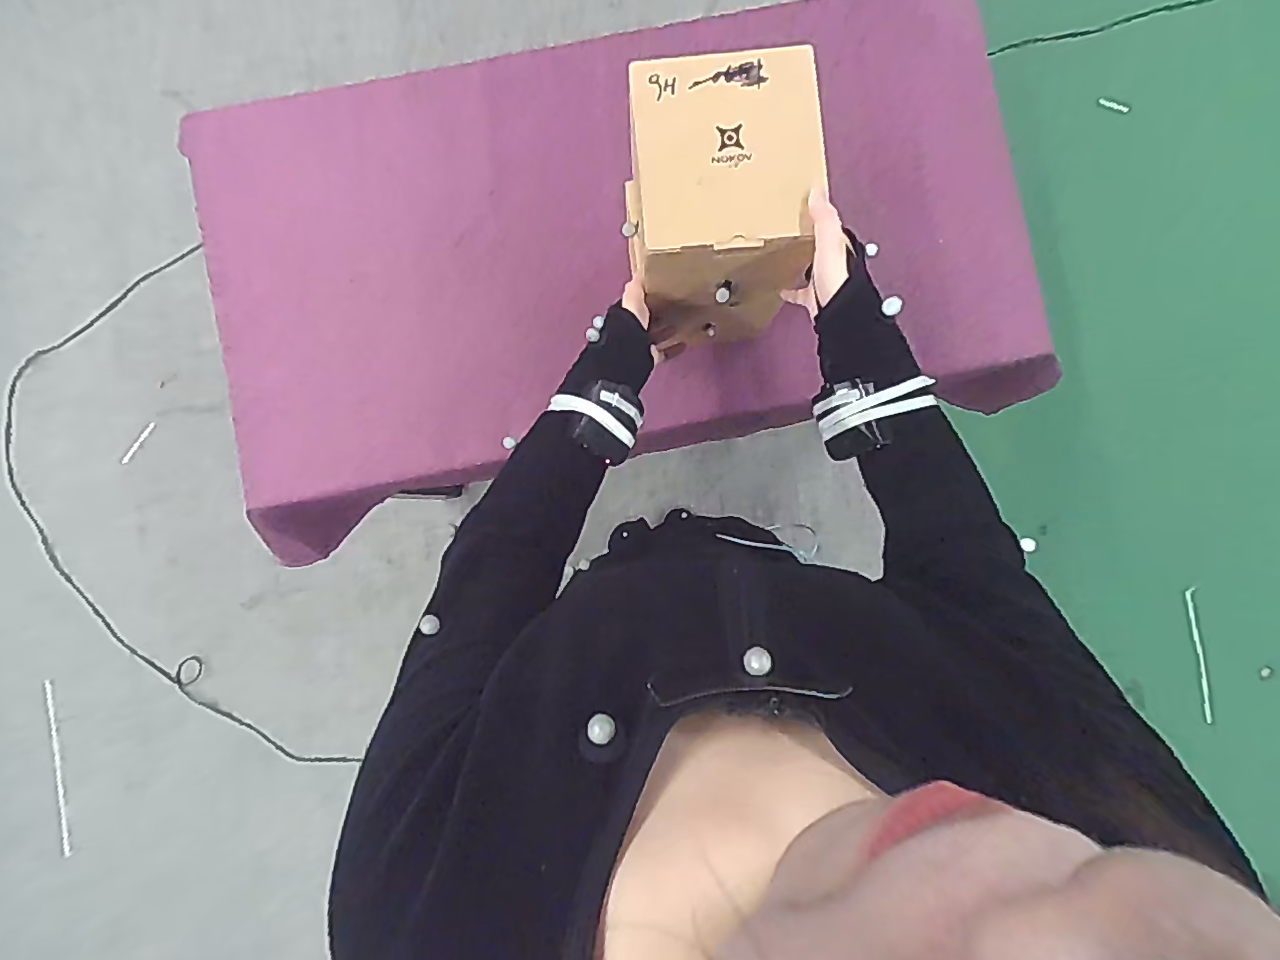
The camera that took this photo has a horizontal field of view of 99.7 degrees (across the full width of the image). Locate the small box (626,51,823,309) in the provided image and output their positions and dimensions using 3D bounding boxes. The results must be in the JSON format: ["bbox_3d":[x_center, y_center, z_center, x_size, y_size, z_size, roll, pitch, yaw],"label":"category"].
[{"bbox_3d":[0.076,-0.286,0.557,0.168,0.176,0.179,-5,89,0],"label":"small box"}]
